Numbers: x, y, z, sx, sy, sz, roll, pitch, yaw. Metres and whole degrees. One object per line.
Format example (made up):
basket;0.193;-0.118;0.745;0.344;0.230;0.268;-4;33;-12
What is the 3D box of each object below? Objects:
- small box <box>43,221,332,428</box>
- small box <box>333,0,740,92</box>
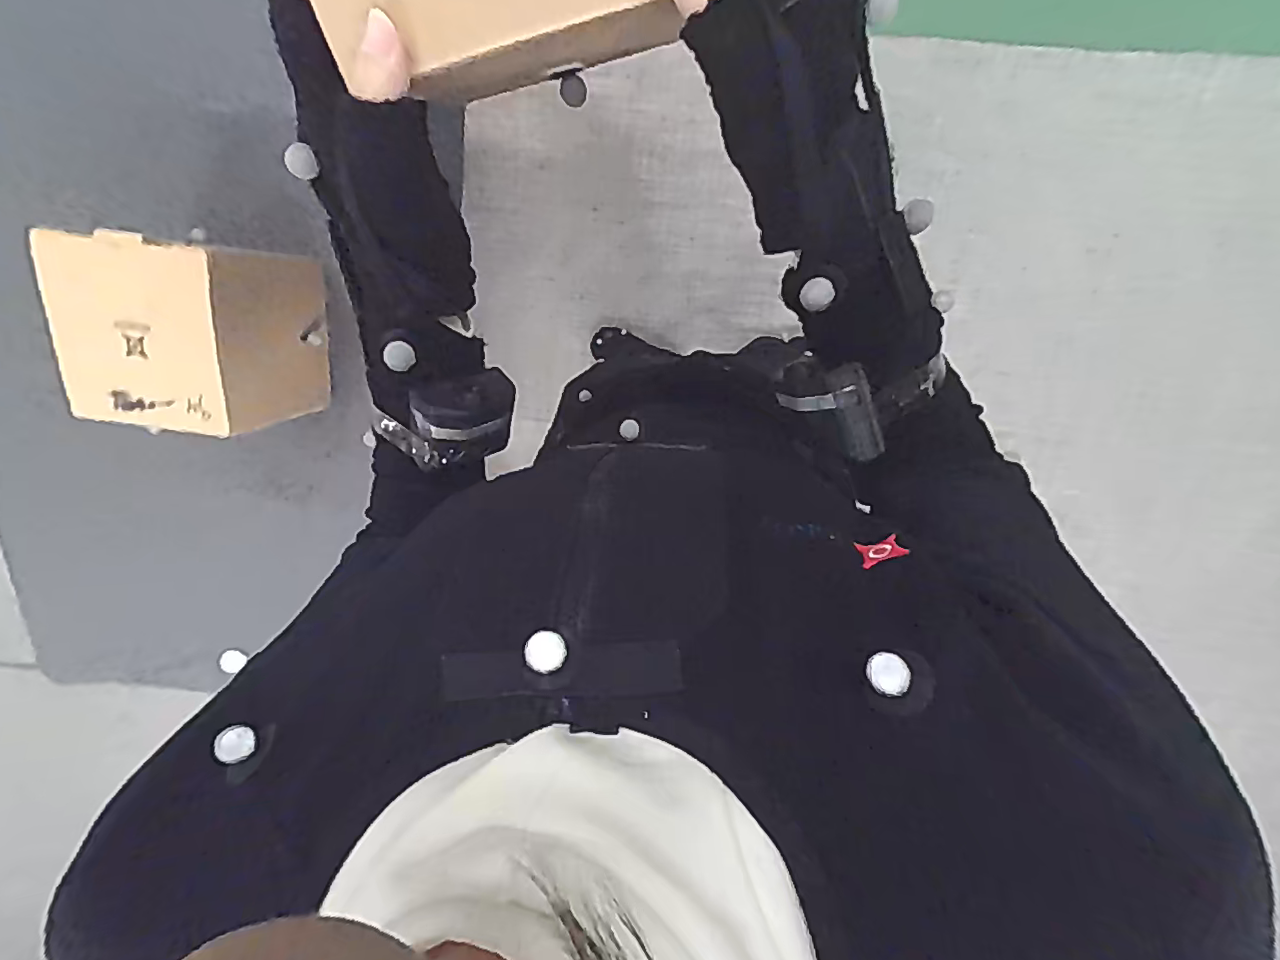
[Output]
small box;-0.467;-0.168;0.591;0.168;0.176;0.179;8;108;2
small box;-0.048;-0.292;0.234;0.168;0.176;0.179;-8;124;10
